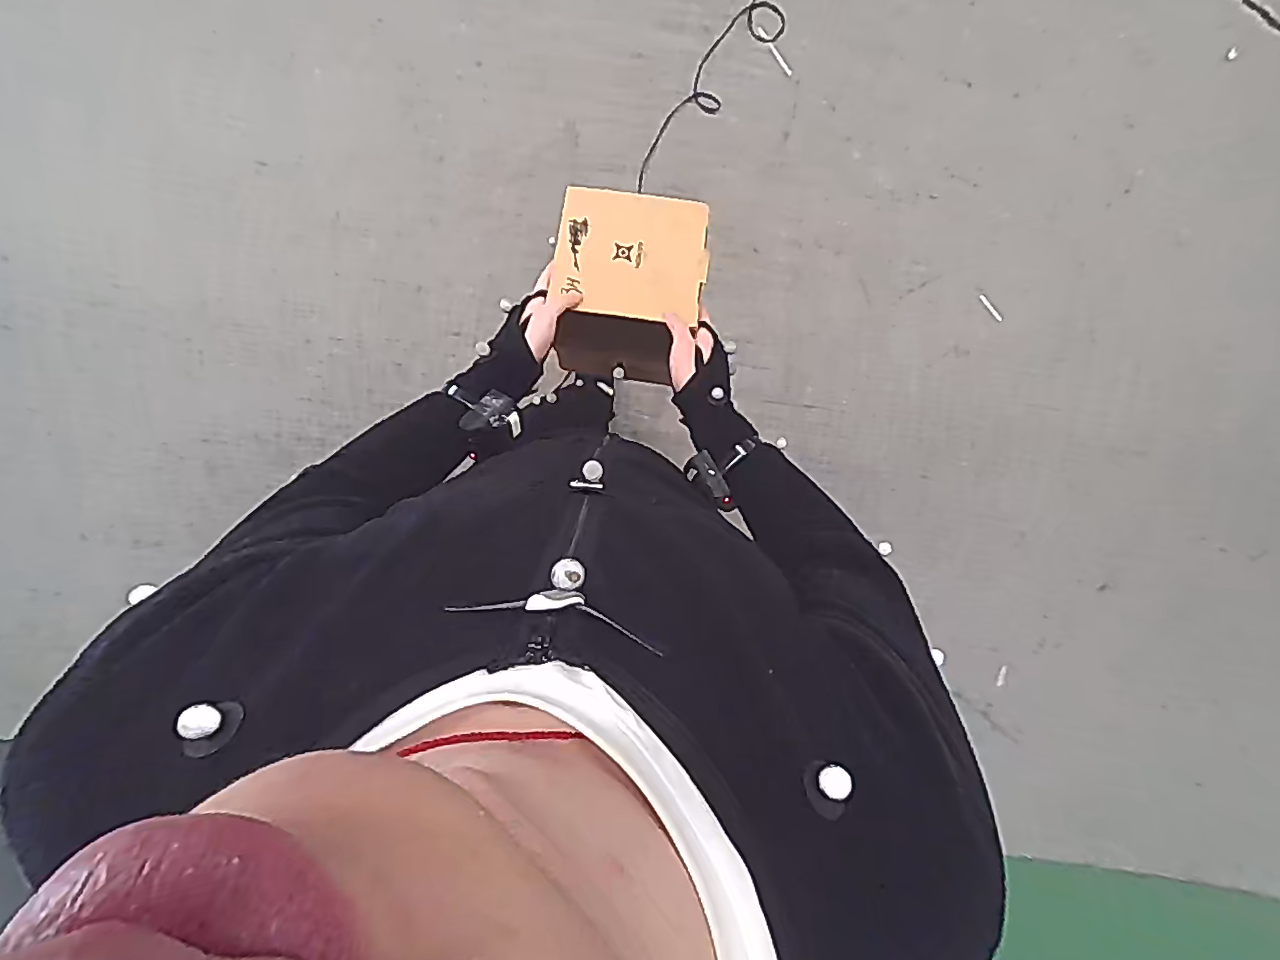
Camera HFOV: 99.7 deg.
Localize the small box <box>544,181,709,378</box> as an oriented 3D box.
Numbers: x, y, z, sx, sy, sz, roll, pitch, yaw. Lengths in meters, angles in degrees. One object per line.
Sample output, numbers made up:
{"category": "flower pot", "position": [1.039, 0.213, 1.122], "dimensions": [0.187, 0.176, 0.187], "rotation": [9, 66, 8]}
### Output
{"category": "small box", "position": [-0.018, -0.248, 0.706], "dimensions": [0.179, 0.176, 0.168], "rotation": [8, 74, -2]}
